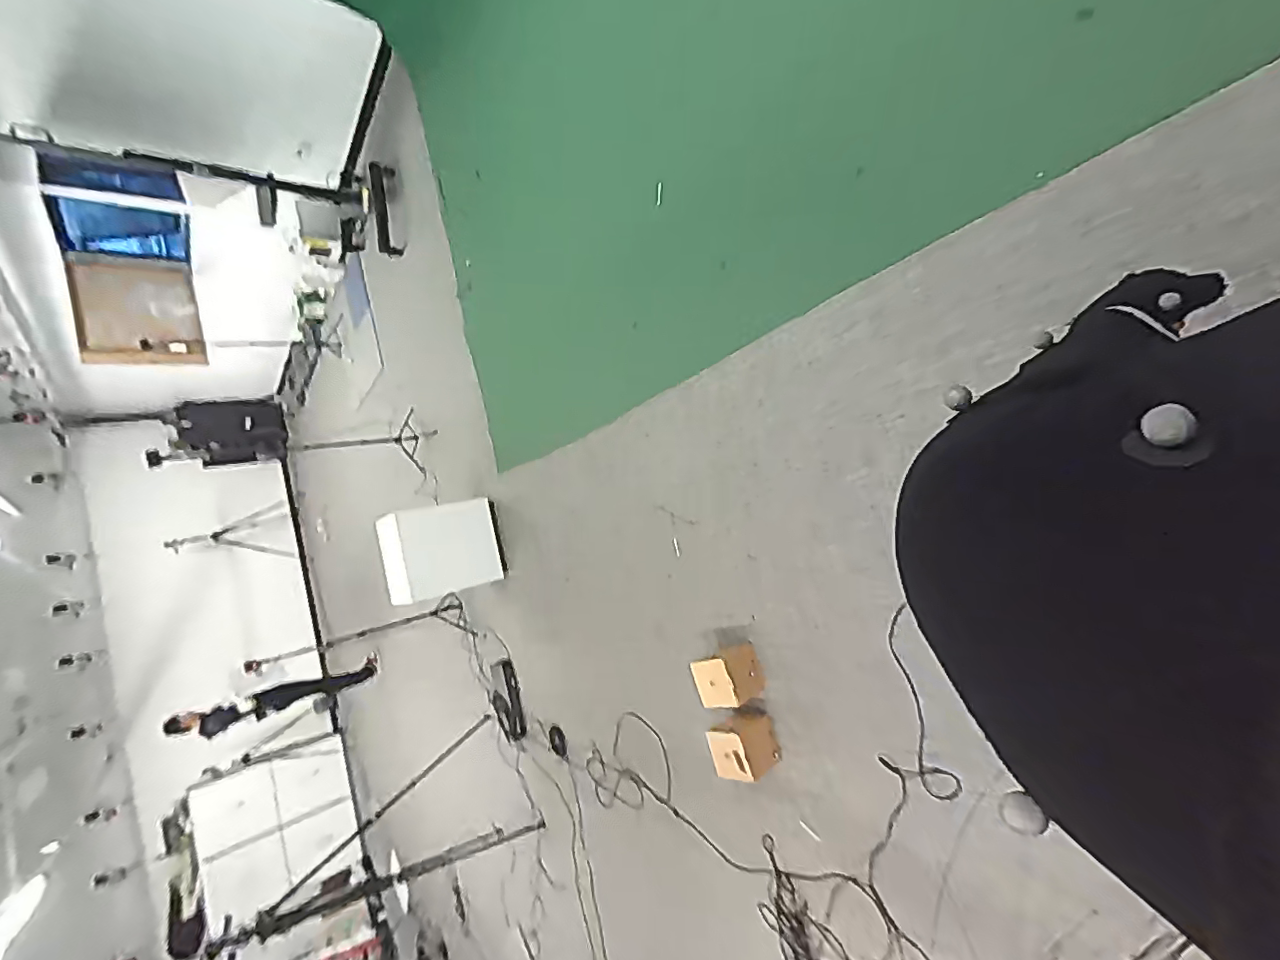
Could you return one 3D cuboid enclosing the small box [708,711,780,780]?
[{"bbox_3d":[0.382,0.952,1.953,0.179,0.176,0.168,-25,79,49],"label":"small box"}]

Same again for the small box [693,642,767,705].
[{"bbox_3d":[0.328,0.702,1.965,0.179,0.176,0.168,-29,76,46],"label":"small box"}]
